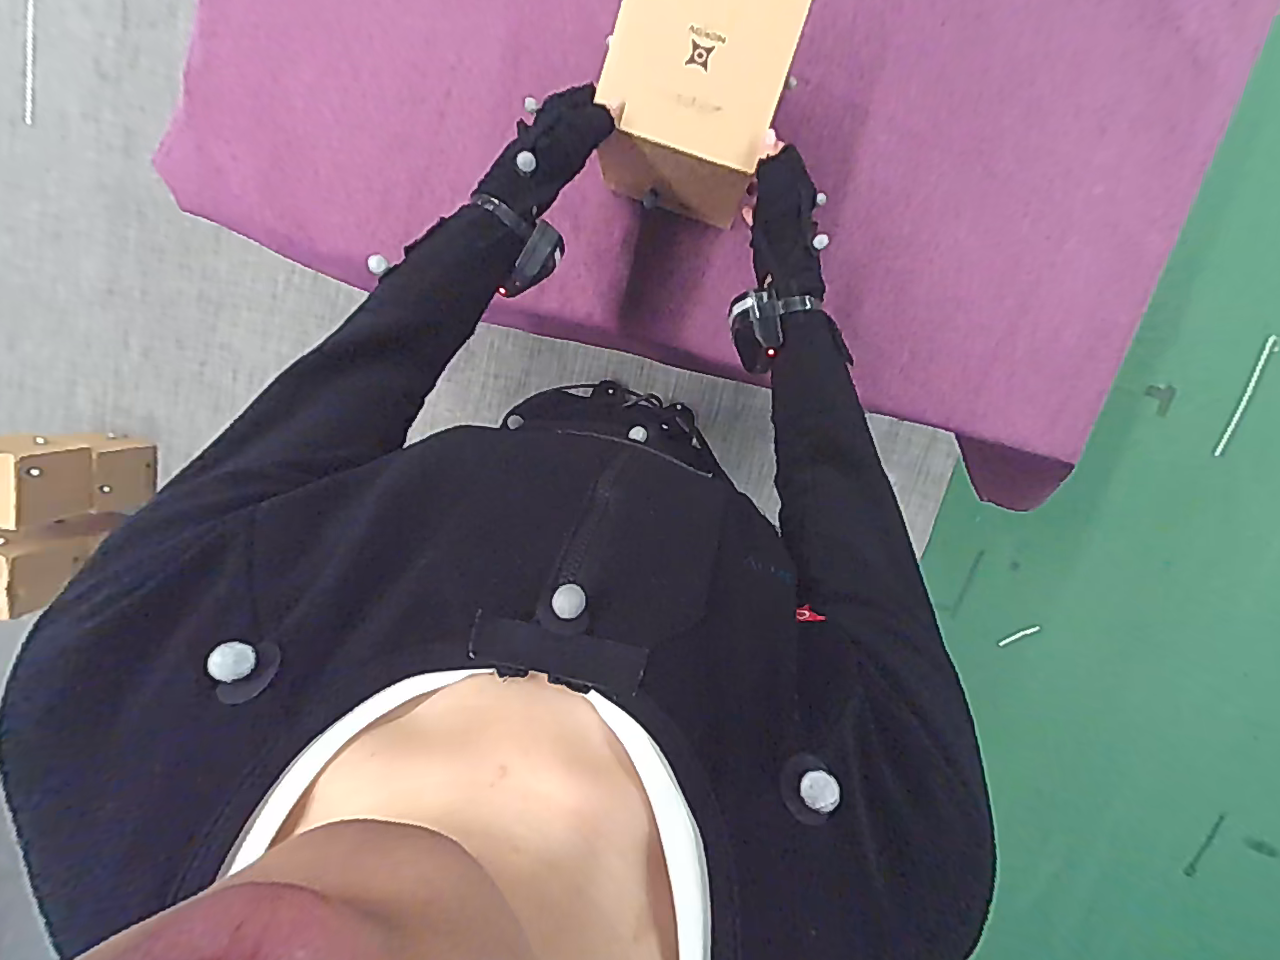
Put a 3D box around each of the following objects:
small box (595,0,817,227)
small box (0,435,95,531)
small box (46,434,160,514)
[{"bbox_3d":[0.060,-0.402,0.570,0.168,0.176,0.179,18,98,-1],"label":"small box"},{"bbox_3d":[-1.448,0.001,1.277,0.168,0.176,0.179,11,101,-1],"label":"small box"},{"bbox_3d":[-1.440,-0.024,1.438,0.179,0.176,0.168,12,102,0],"label":"small box"}]
